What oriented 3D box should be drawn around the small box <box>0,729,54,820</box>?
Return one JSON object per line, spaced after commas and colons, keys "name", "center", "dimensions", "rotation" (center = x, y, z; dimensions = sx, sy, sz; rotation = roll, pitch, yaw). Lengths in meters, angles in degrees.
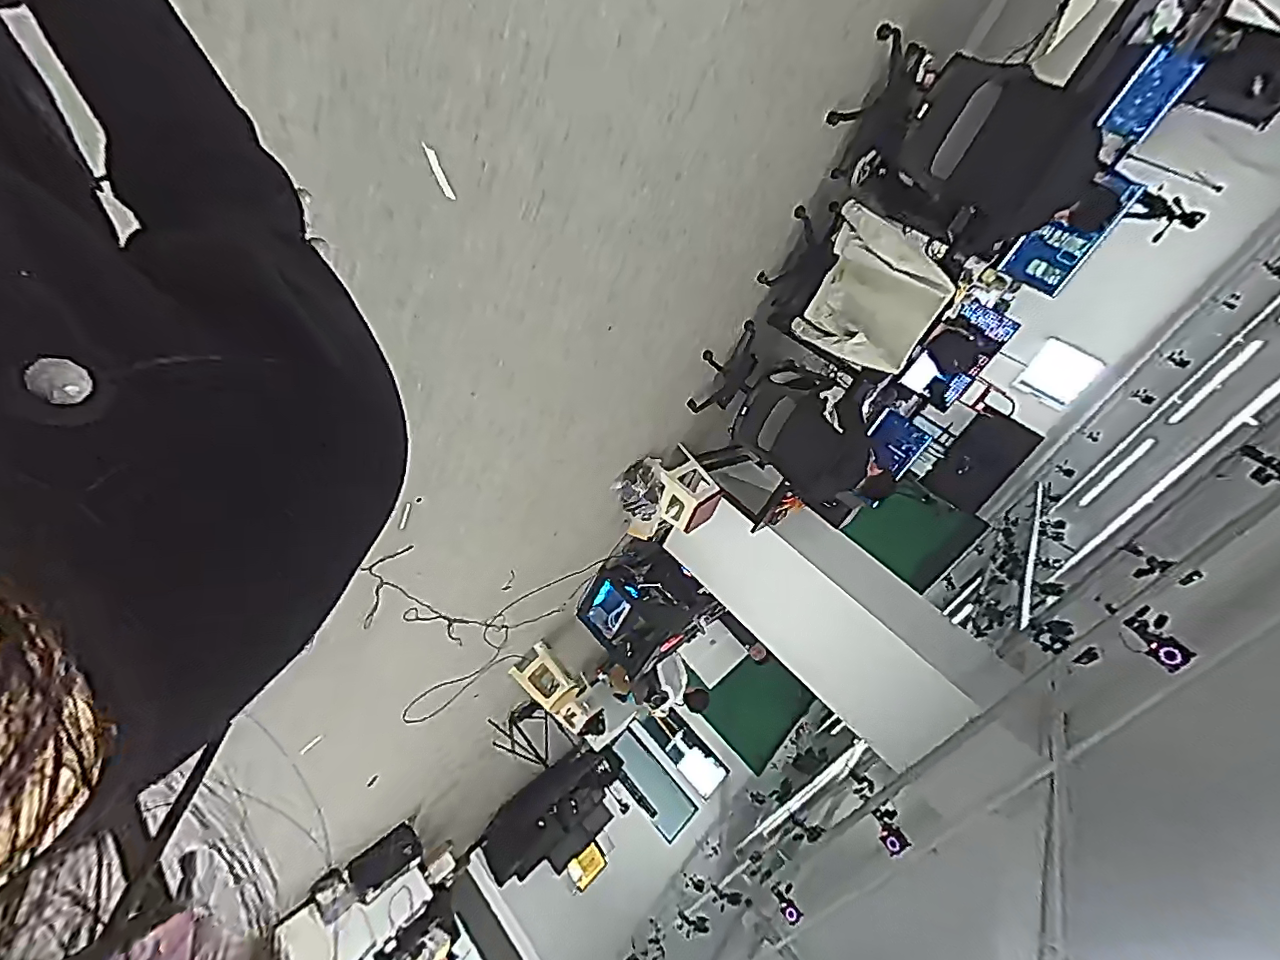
{"name": "small box", "center": [-1.875, 0.879, 1.599], "dimensions": [0.168, 0.176, 0.179], "rotation": [-14, 140, -52]}
